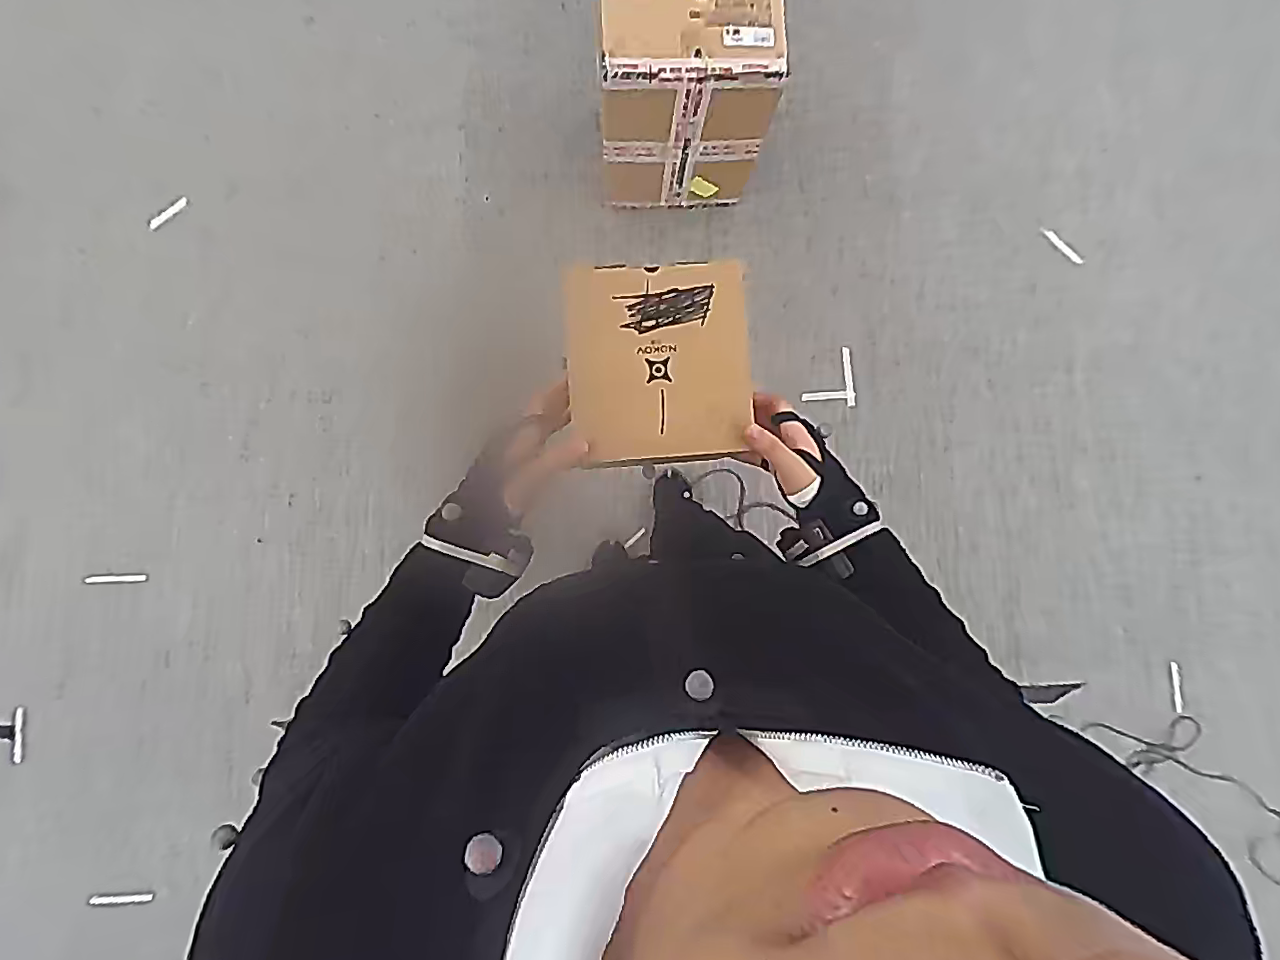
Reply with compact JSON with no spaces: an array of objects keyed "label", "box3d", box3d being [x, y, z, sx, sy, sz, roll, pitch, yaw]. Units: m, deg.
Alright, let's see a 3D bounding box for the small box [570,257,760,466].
[{"label":"small box","box3d":[0.017,-0.111,0.566,0.168,0.176,0.179,-5,90,-3]}]
